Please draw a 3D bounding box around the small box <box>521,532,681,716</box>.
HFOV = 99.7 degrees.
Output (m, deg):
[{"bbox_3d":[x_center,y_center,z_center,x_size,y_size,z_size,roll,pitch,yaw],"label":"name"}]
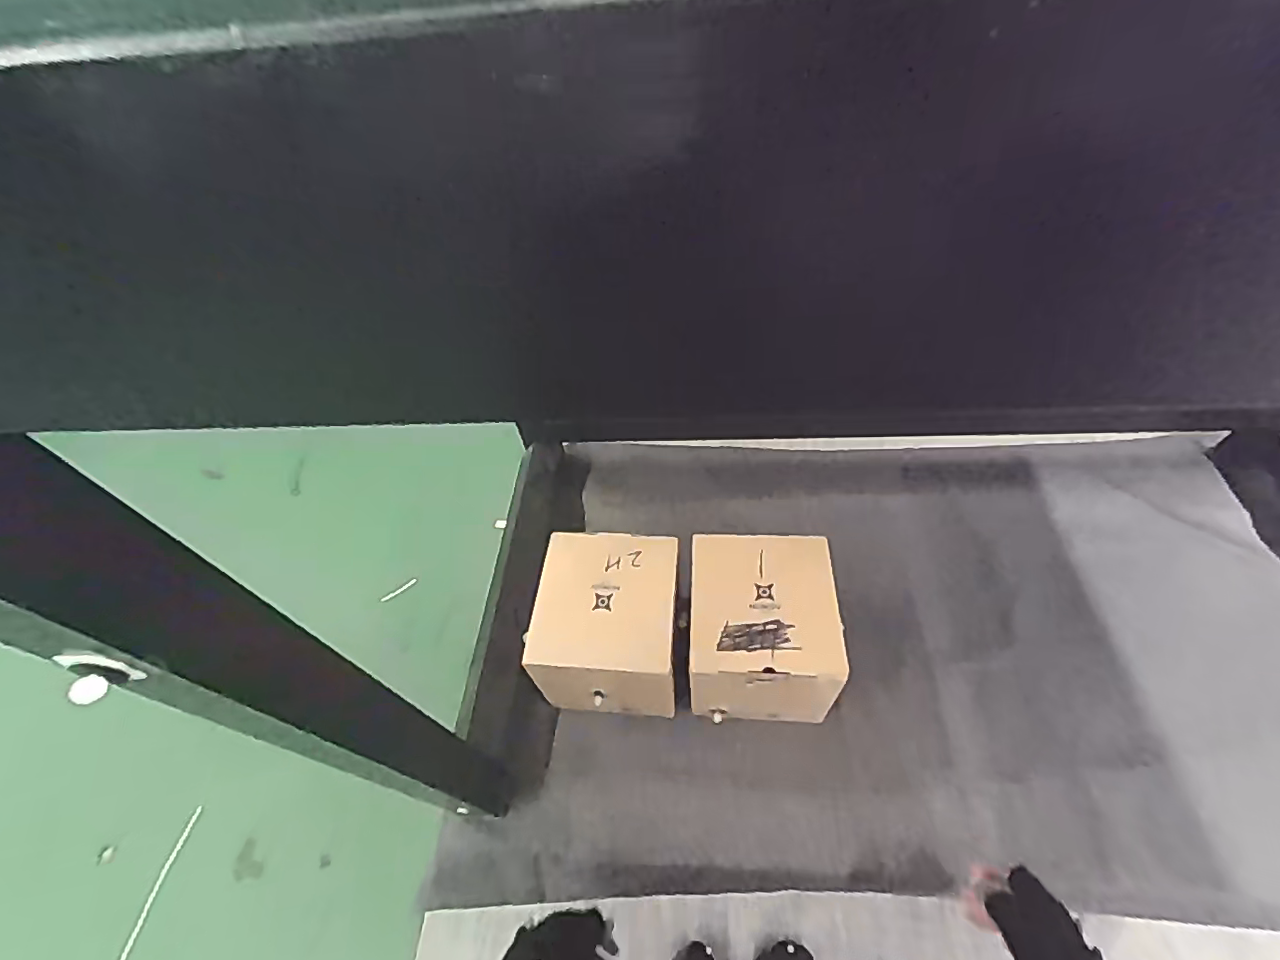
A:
[{"bbox_3d":[-0.035,0.187,0.691,0.168,0.176,0.179,2,52,7],"label":"small box"}]
